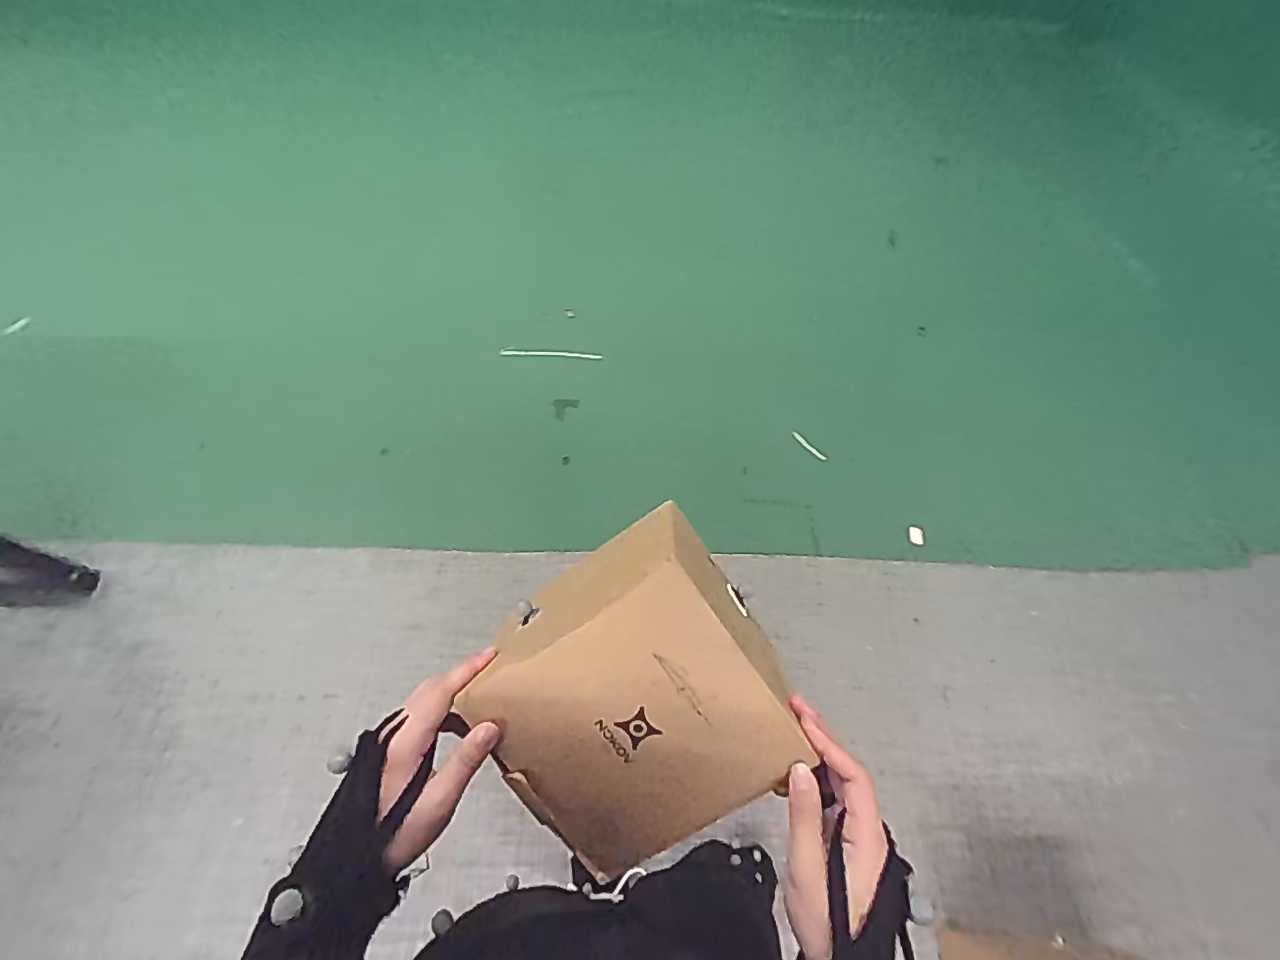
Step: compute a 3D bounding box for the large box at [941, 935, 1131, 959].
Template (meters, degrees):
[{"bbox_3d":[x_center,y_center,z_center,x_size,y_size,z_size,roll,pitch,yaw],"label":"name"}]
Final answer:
[{"bbox_3d":[0.716,0.989,0.816,0.320,0.320,0.408,6,62,1],"label":"large box"}]
